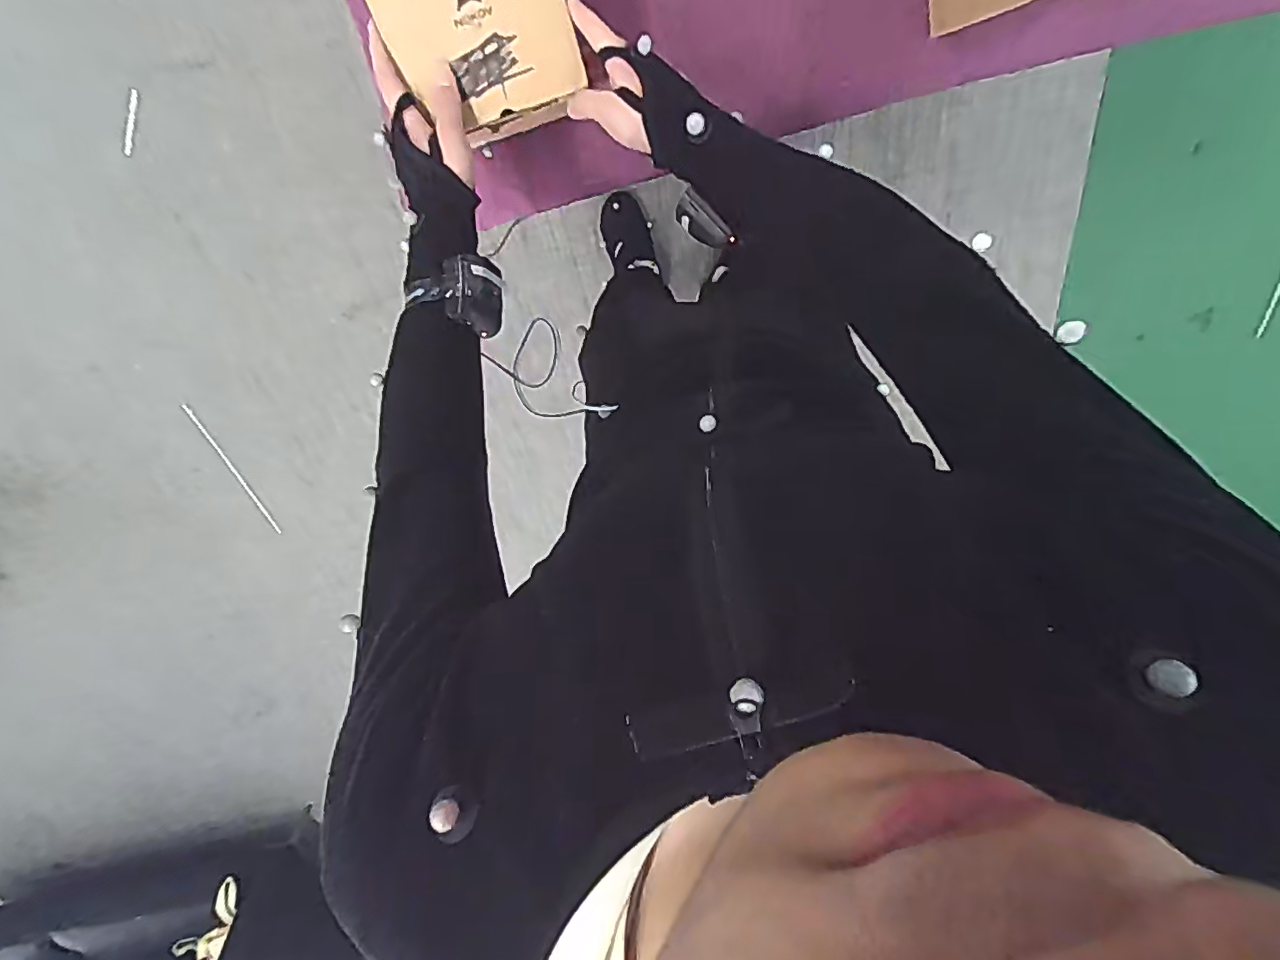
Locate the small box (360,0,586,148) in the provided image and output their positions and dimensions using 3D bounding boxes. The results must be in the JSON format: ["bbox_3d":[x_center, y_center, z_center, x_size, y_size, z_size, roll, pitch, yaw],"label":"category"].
[{"bbox_3d":[-0.155,-0.447,0.529,0.168,0.176,0.179,-16,120,5],"label":"small box"}]

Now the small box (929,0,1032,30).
[{"bbox_3d":[0.395,-0.559,0.498,0.179,0.176,0.168,-18,120,8],"label":"small box"}]
